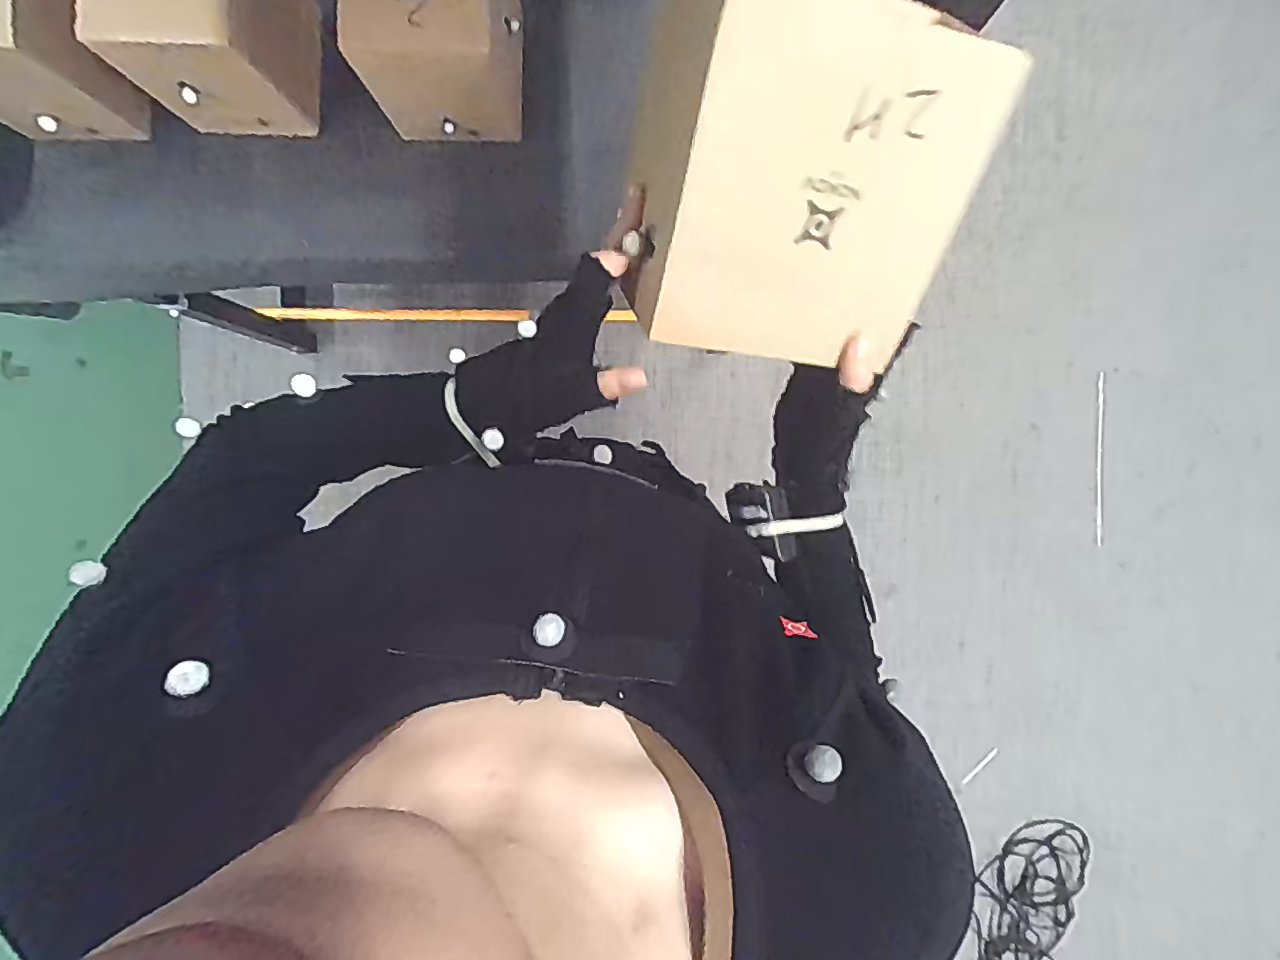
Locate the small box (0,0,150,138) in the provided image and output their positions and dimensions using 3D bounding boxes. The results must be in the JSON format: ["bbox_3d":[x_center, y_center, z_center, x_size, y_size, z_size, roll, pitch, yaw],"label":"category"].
[{"bbox_3d":[-0.747,-0.555,0.655,0.168,0.176,0.179,0,92,-1],"label":"small box"}]

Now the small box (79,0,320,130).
[{"bbox_3d":[-0.520,-0.563,0.661,0.168,0.176,0.179,1,91,-1],"label":"small box"}]
